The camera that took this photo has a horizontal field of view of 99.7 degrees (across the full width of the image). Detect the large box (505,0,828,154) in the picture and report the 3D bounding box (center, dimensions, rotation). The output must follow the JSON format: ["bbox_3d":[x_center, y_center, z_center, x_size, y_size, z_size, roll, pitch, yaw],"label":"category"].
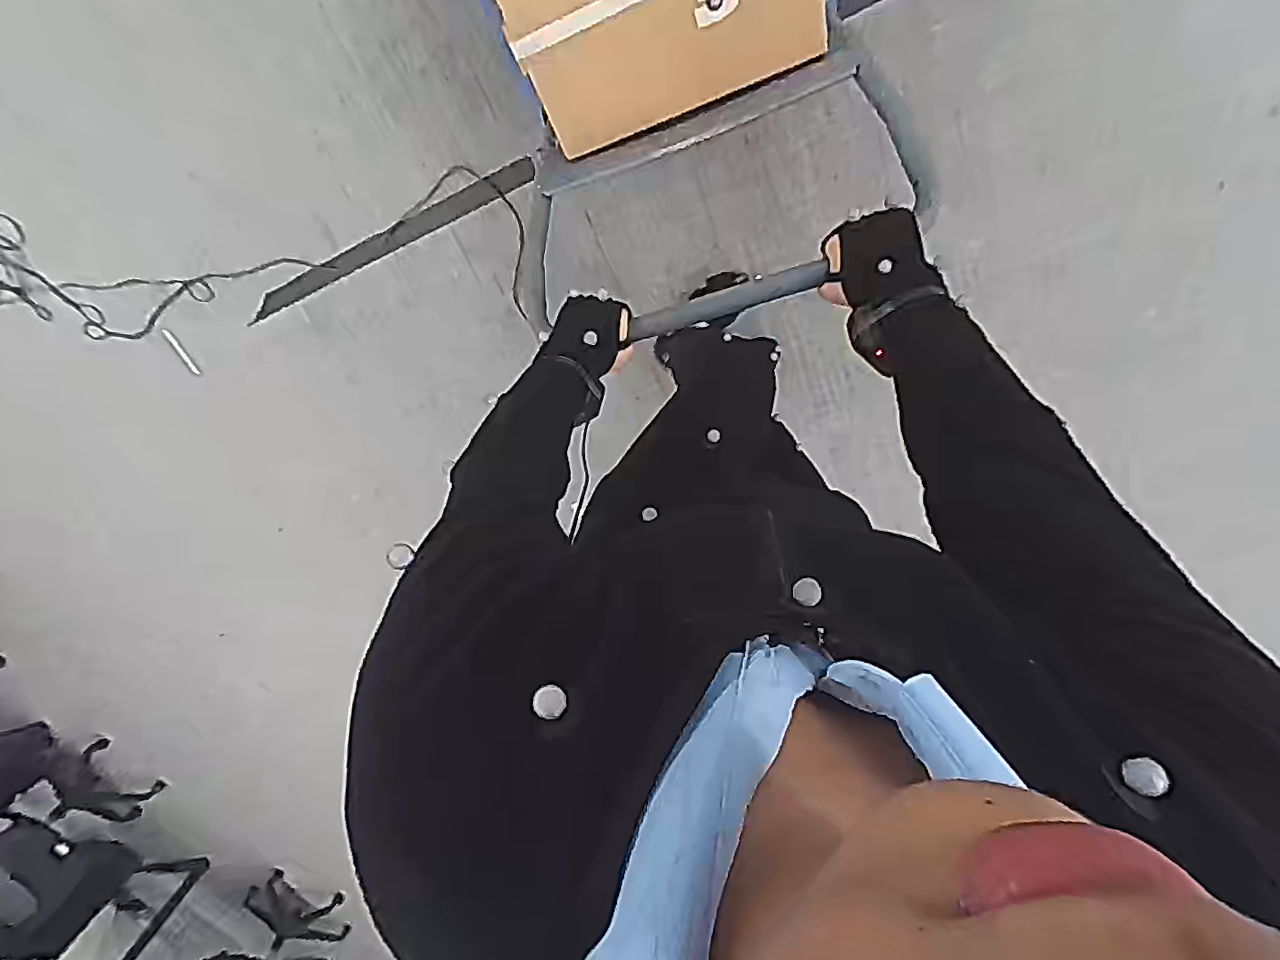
[{"bbox_3d":[0.019,-0.772,0.797,0.408,0.320,0.320,-15,139,16],"label":"large box"}]
